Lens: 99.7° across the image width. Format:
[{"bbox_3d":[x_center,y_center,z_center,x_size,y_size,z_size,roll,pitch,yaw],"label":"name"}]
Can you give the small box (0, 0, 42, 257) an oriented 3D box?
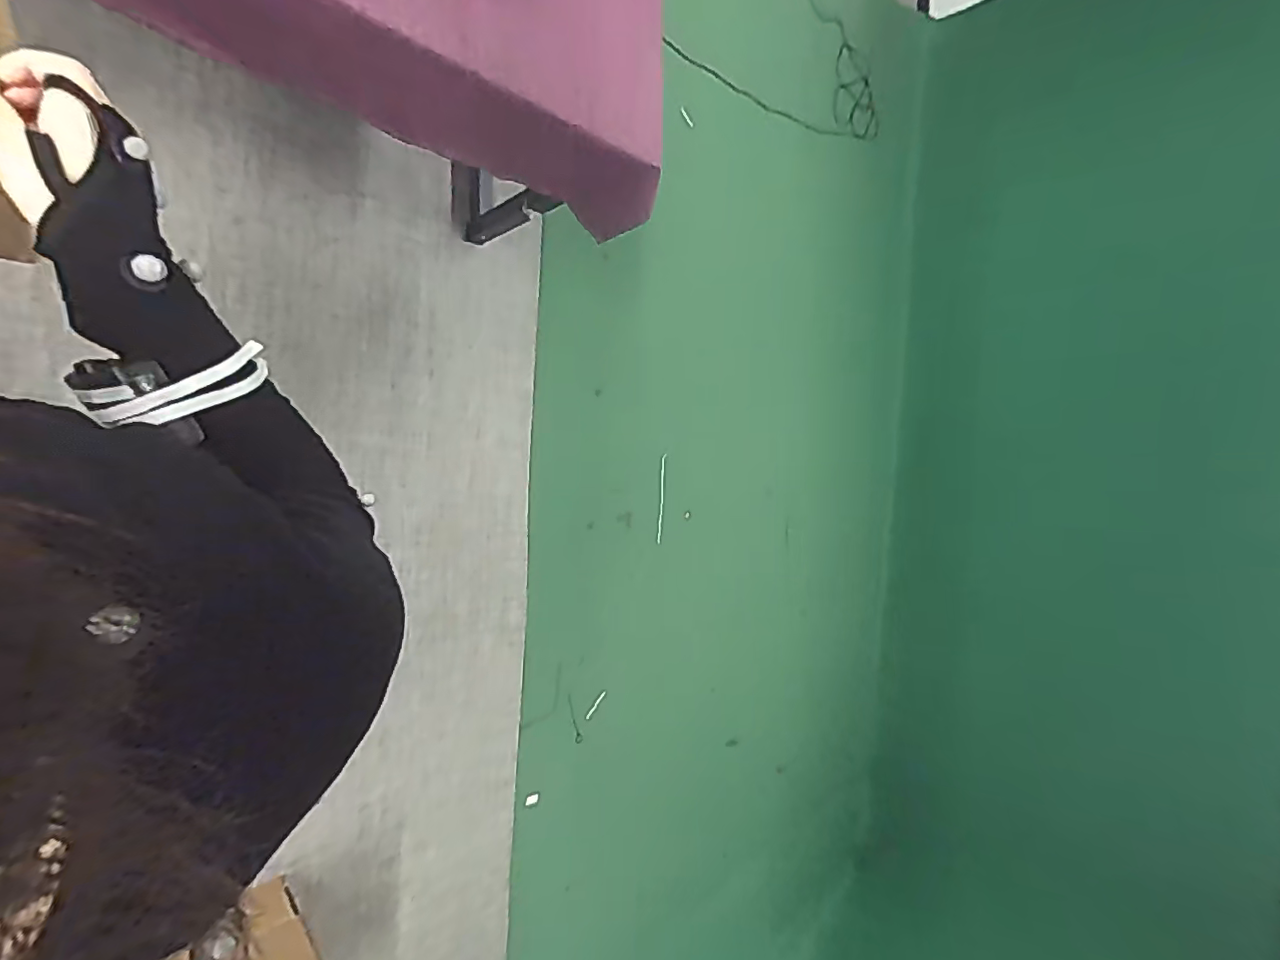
[{"bbox_3d":[-0.480,-0.250,0.310,0.168,0.176,0.179,-8,99,-44],"label":"small box"}]
